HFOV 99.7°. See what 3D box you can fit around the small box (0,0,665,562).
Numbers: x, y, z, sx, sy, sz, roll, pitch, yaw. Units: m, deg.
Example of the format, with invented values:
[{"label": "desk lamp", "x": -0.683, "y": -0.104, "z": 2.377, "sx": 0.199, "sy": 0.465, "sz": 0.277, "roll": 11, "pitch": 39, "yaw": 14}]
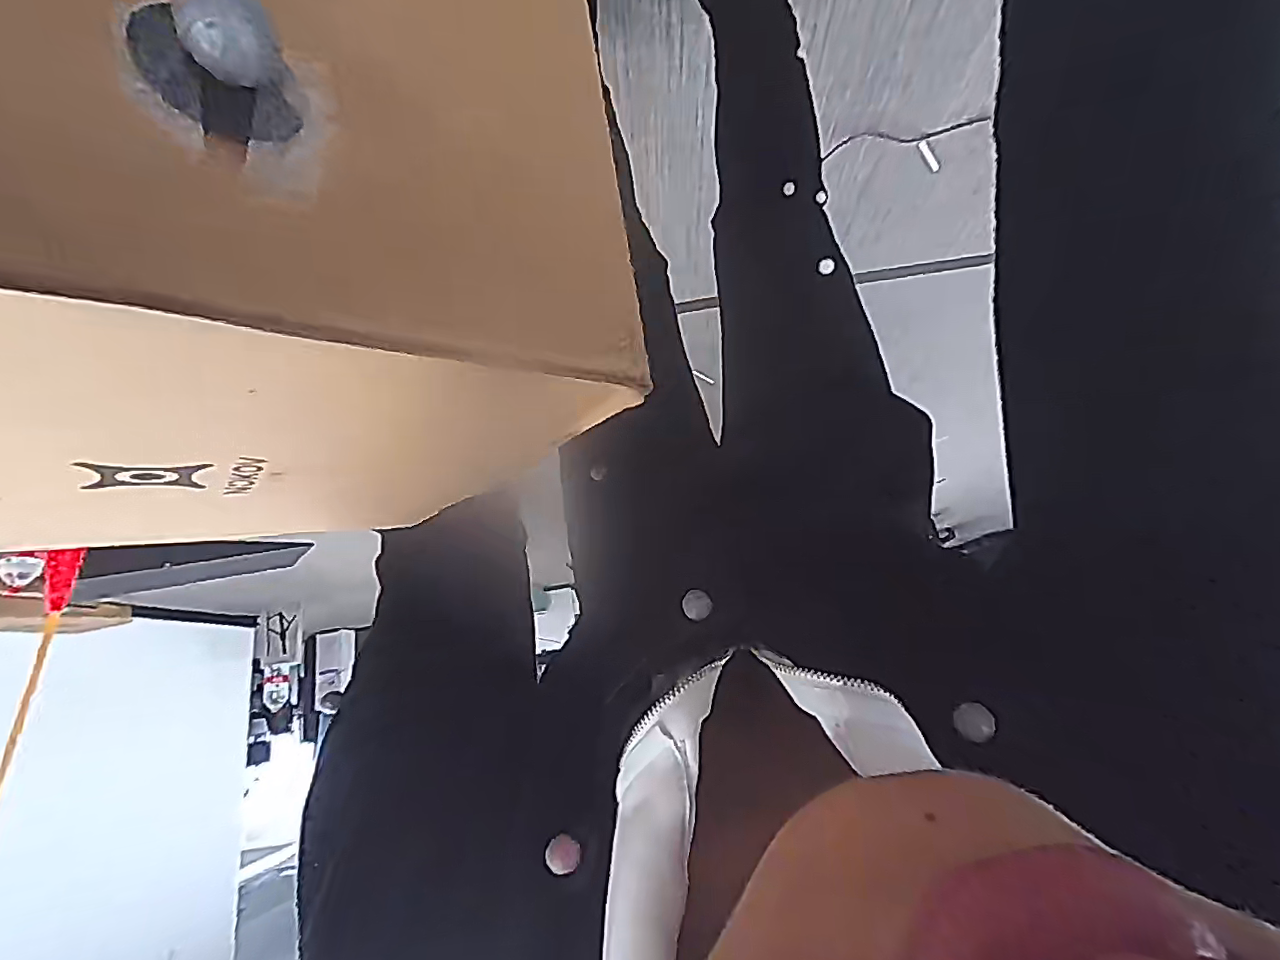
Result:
[{"label": "small box", "x": -0.121, "y": -0.078, "z": 0.139, "sx": 0.179, "sy": 0.176, "sz": 0.168, "roll": 1, "pitch": 164, "yaw": -42}]
